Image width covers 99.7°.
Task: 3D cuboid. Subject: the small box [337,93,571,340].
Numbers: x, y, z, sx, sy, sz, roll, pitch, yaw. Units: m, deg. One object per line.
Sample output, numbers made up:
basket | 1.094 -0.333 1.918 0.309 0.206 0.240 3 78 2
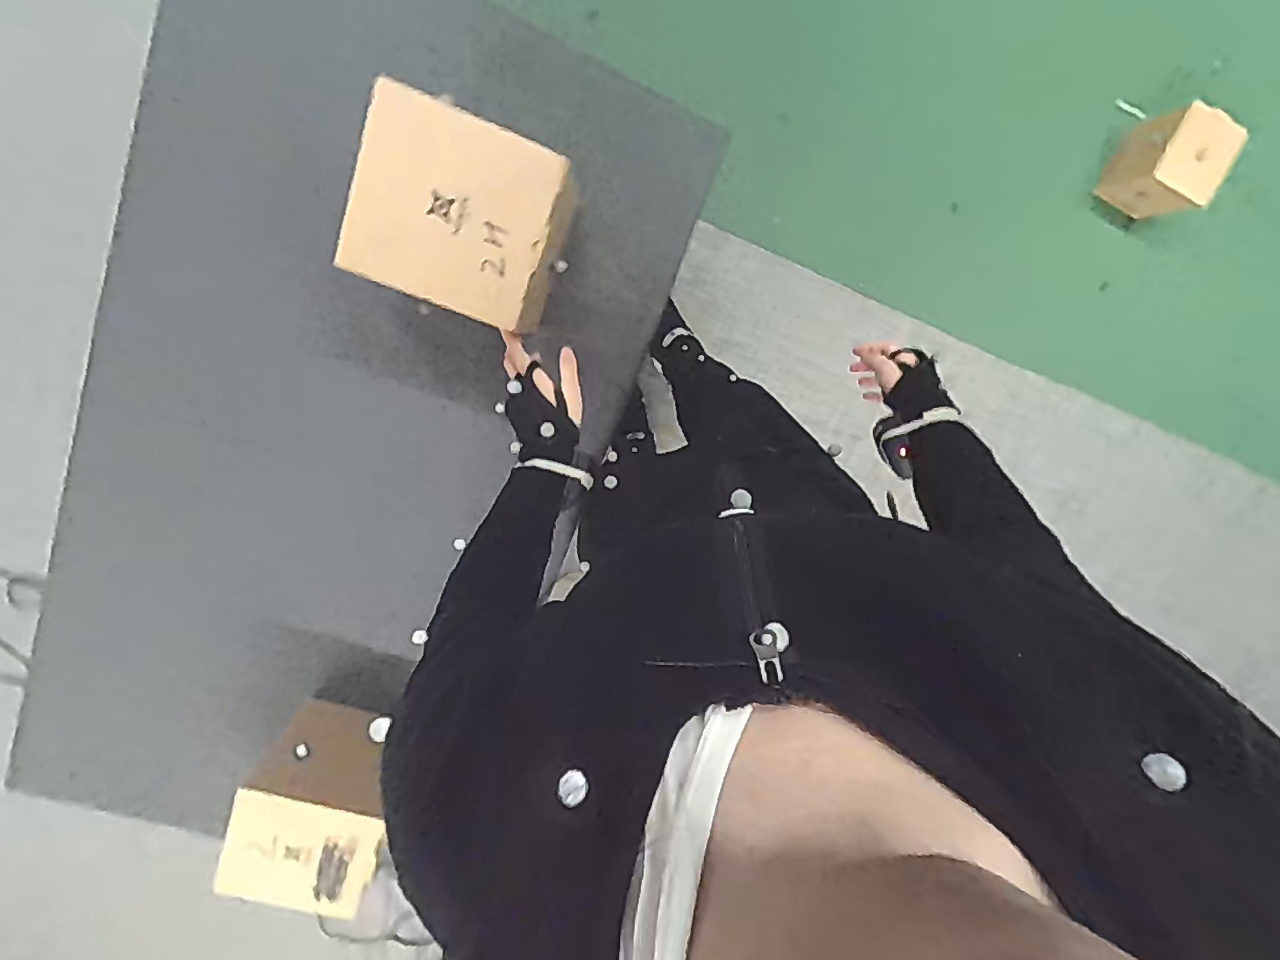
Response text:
small box | -0.186 -0.264 0.590 0.179 0.176 0.168 22 103 -12

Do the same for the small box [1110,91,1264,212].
small box | 1.299 -0.778 1.304 0.168 0.176 0.179 20 101 -8
